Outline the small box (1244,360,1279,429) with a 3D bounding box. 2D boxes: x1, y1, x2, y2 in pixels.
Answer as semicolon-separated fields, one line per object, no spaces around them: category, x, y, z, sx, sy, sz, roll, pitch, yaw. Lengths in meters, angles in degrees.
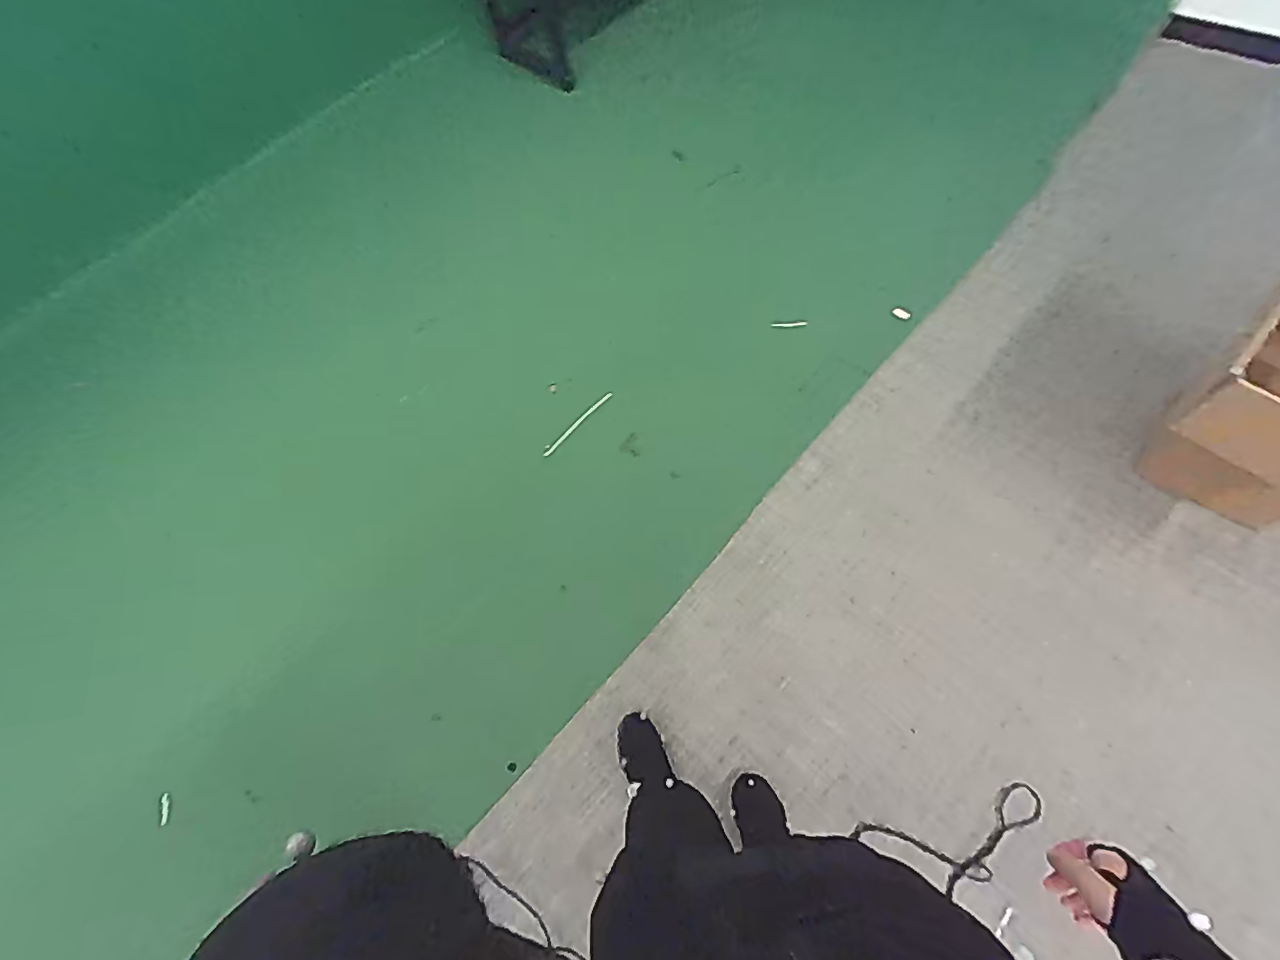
small box;1.361;-0.185;1.050;0.179;0.176;0.168;-42;68;-12
